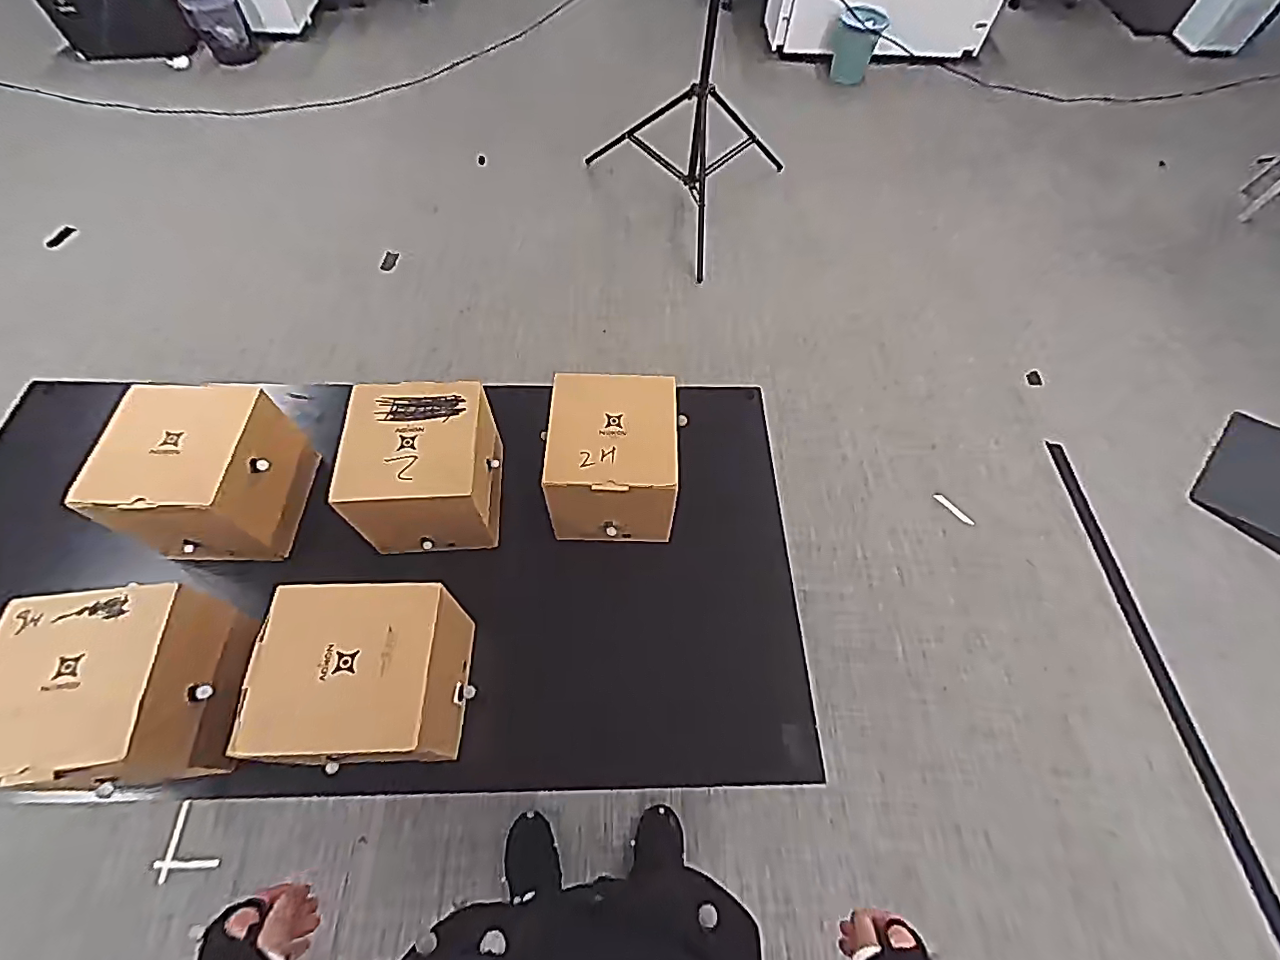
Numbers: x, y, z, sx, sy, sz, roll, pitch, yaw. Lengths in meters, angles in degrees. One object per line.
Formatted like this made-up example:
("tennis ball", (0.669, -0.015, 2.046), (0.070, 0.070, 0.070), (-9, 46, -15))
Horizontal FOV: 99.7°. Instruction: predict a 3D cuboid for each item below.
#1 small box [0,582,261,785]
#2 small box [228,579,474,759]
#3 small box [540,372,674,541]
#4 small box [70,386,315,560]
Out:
("small box", (-0.560, 0.229, 0.596), (0.168, 0.176, 0.179), (-6, 61, -5))
("small box", (-0.303, 0.219, 0.614), (0.179, 0.176, 0.168), (-1, 61, -4))
("small box", (-0.041, -0.029, 0.764), (0.168, 0.176, 0.179), (1, 60, -1))
("small box", (-0.576, -0.006, 0.731), (0.168, 0.176, 0.179), (1, 61, -2))
